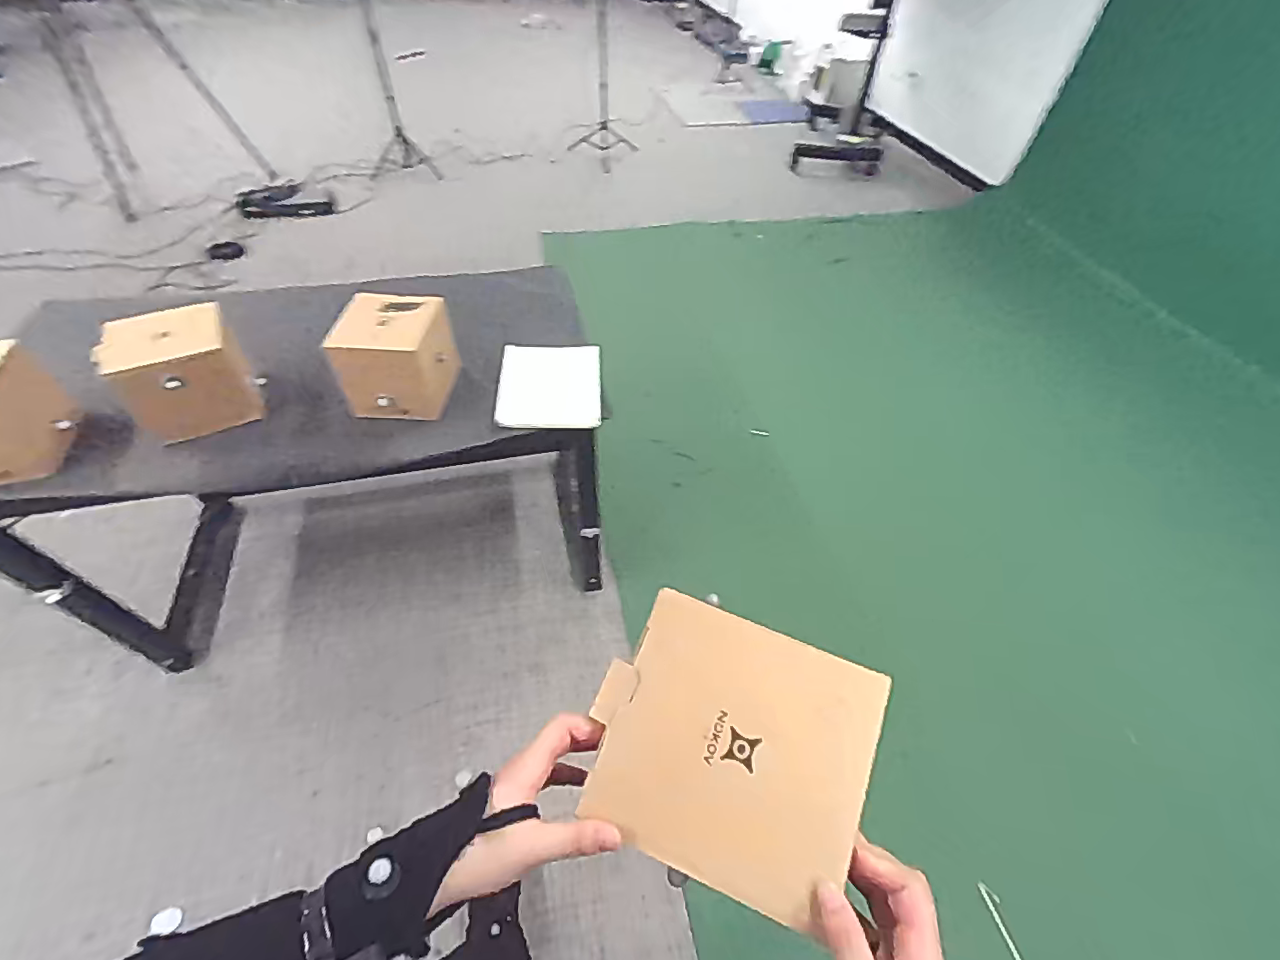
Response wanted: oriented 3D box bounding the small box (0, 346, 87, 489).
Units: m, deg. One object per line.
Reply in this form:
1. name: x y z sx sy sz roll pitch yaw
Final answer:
1. small box: -1.110 -0.100 0.918 0.168 0.176 0.179 -12 51 -14

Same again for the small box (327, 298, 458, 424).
1. small box: -0.469 -0.233 1.062 0.168 0.176 0.179 3 49 0

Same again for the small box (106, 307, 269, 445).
1. small box: -0.836 -0.191 1.013 0.179 0.176 0.168 -22 54 -21
